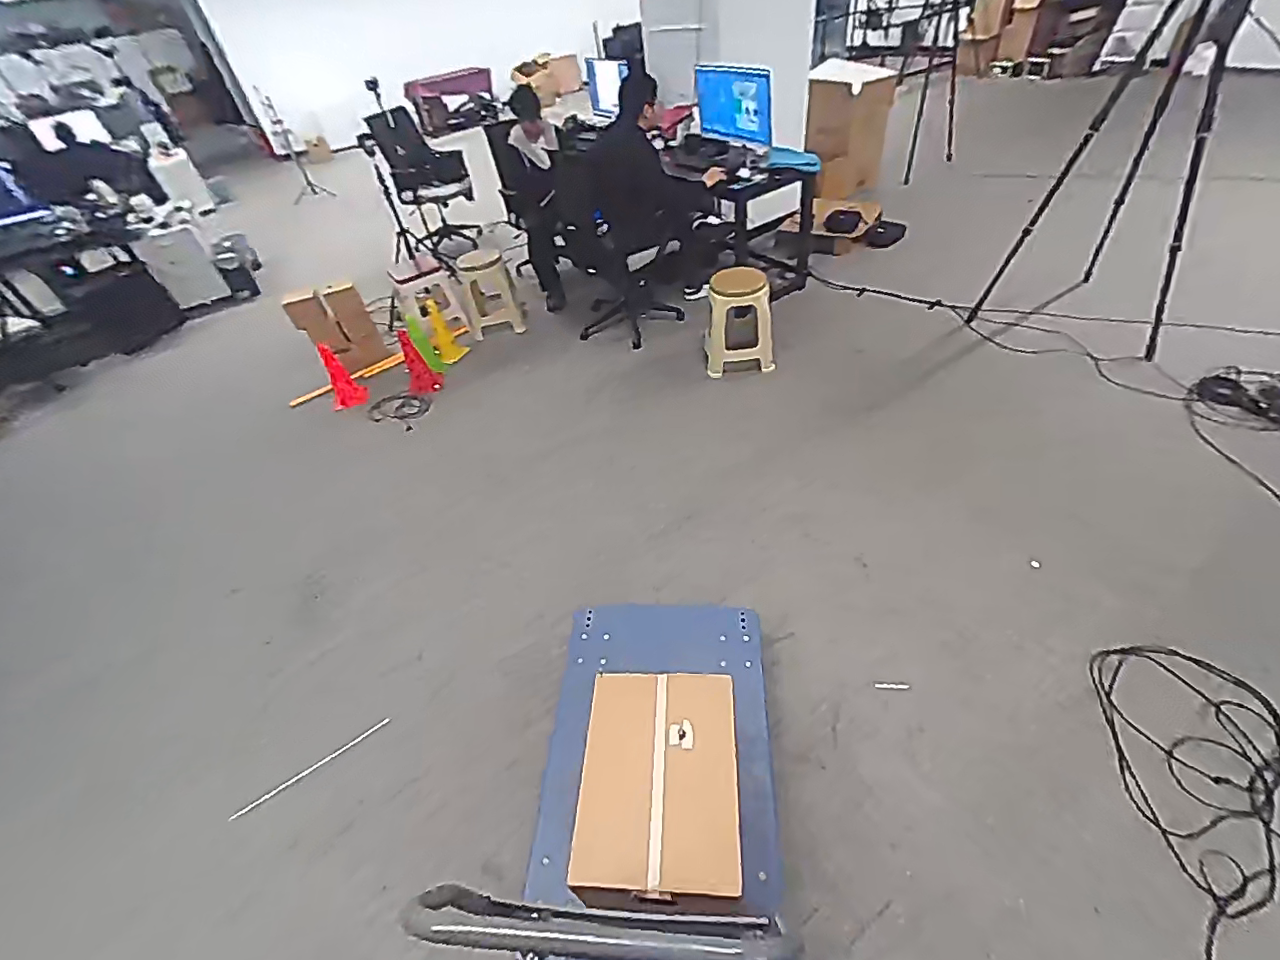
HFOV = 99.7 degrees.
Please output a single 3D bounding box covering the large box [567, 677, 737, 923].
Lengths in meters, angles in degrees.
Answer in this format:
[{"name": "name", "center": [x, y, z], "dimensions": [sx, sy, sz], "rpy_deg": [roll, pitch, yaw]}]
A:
[{"name": "large box", "center": [0.048, 0.703, 1.205], "dimensions": [0.320, 0.320, 0.408], "rpy_deg": [-1, 42, 8]}]
